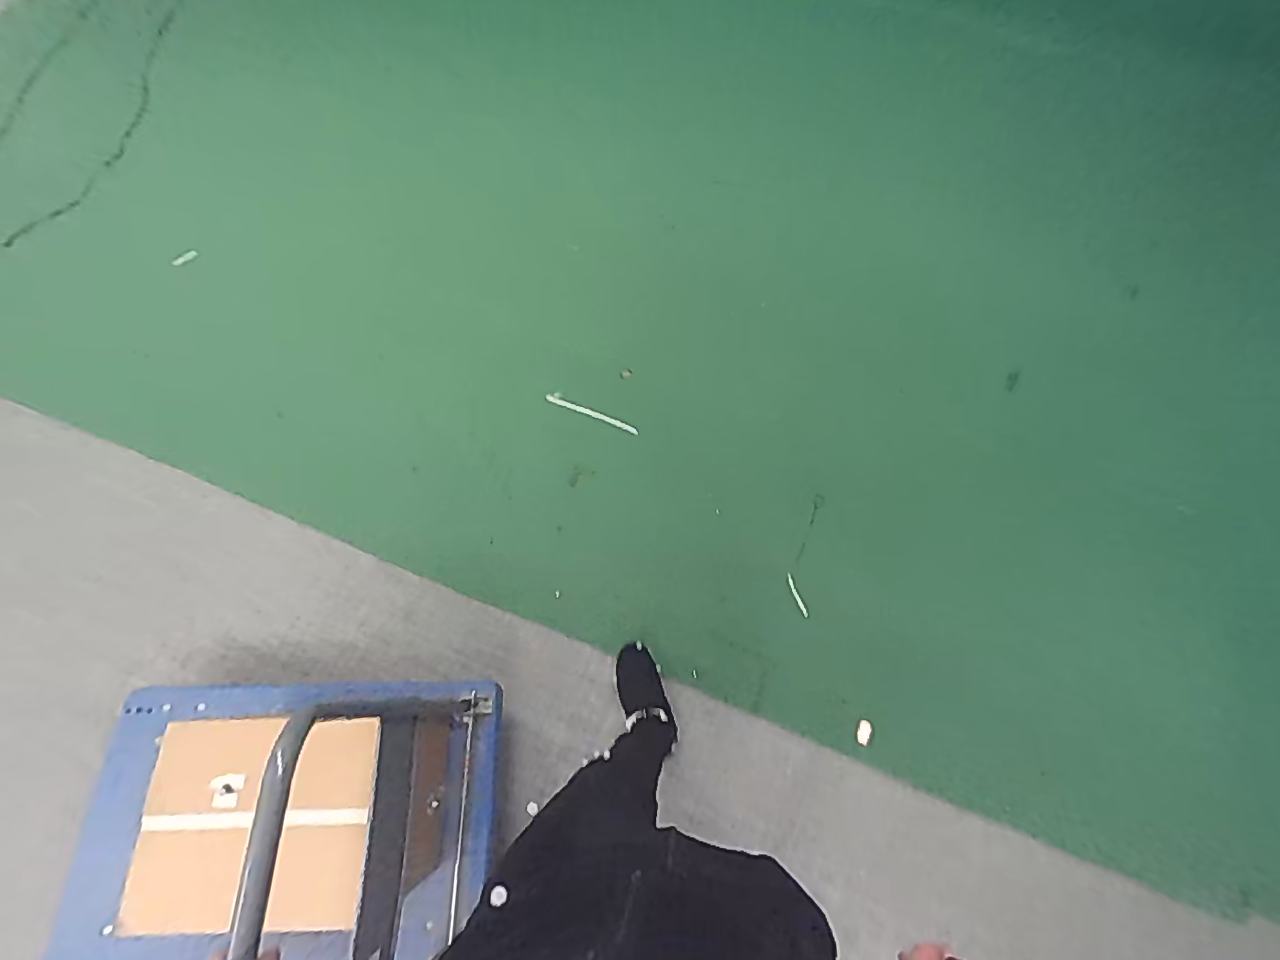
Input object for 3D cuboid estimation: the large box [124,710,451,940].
[{"bbox_3d":[-0.619,0.624,1.042,0.408,0.320,0.320,-2,68,0],"label":"large box"}]
